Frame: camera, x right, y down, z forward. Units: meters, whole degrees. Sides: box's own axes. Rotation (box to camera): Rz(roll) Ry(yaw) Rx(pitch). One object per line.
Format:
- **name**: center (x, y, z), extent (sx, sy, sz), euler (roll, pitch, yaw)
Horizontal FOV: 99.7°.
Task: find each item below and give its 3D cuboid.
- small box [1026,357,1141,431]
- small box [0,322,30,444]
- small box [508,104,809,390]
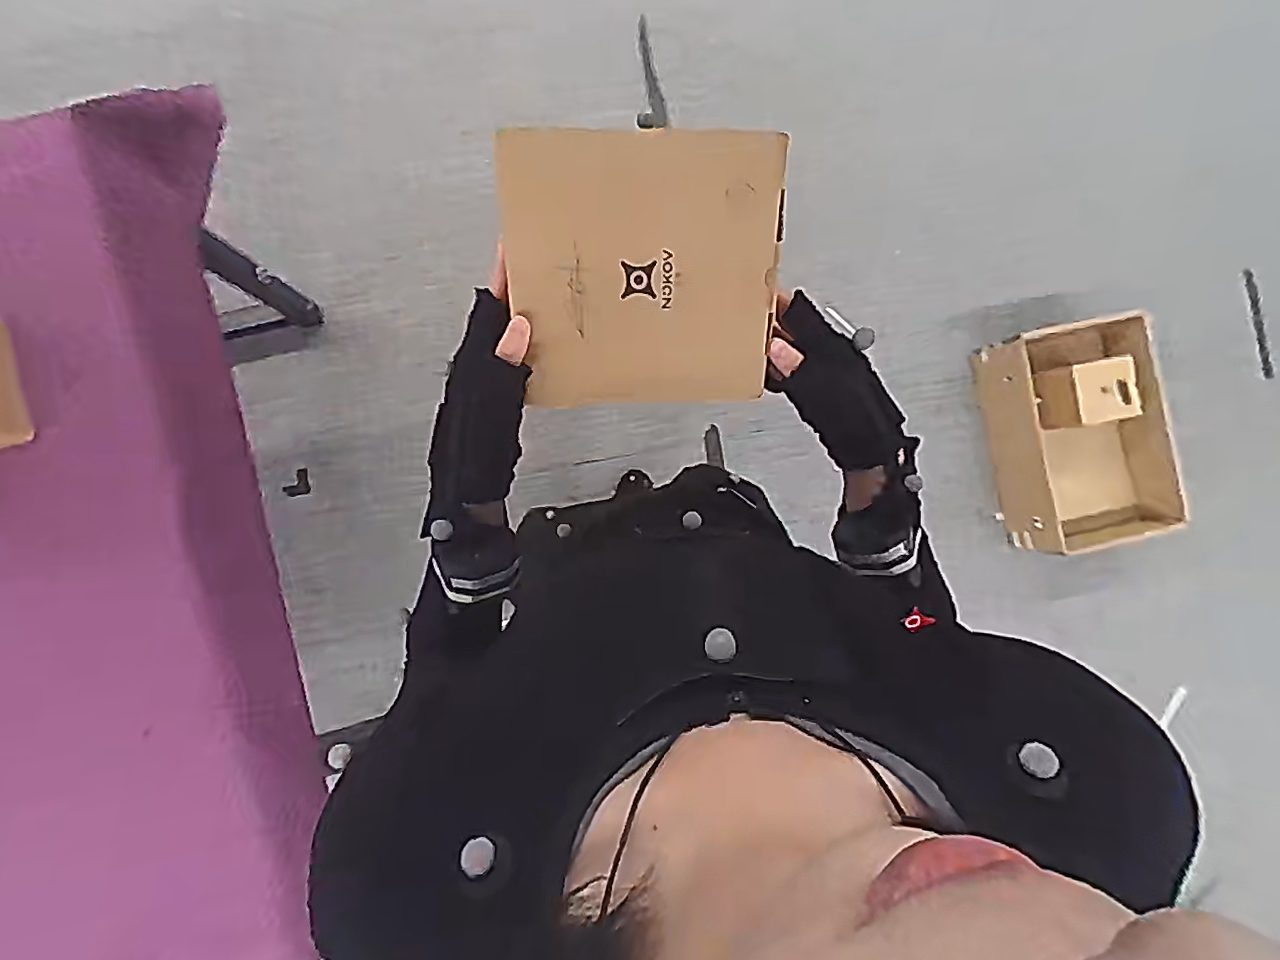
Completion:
- **small box**: center (1.243, -0.237, 1.524), extent (0.179, 0.176, 0.168), euler (-12, 91, -5)
- **small box**: center (-0.876, -0.118, 0.617), extent (0.168, 0.176, 0.179), euler (-15, 91, -6)
- **small box**: center (0.006, -0.172, 0.411), extent (0.179, 0.176, 0.168), euler (-2, 116, -3)
